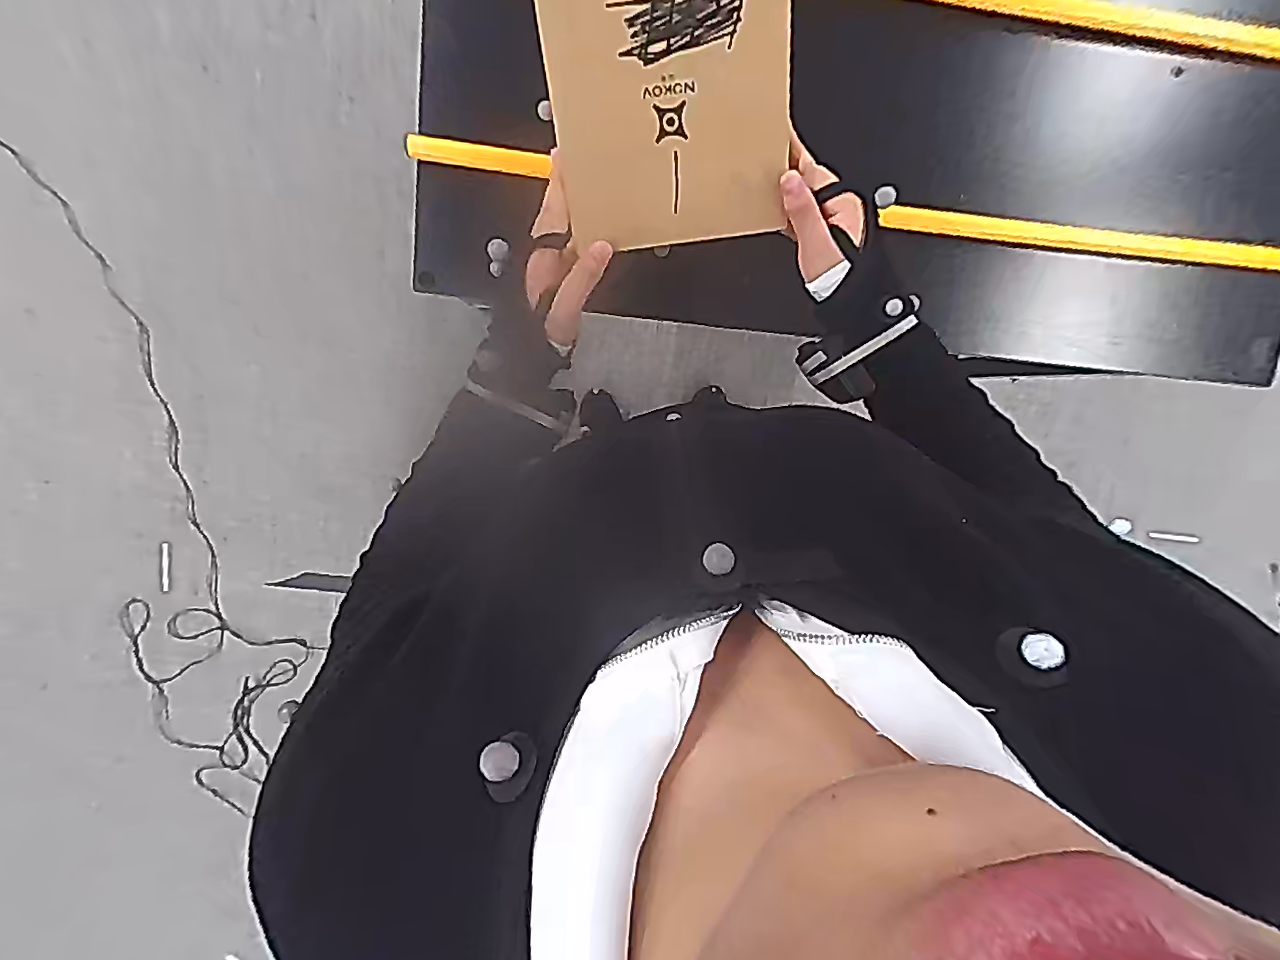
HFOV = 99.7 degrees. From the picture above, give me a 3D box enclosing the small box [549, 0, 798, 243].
[{"bbox_3d":[0.022,-0.300,0.443,0.168,0.176,0.179,-6,118,0],"label":"small box"}]
